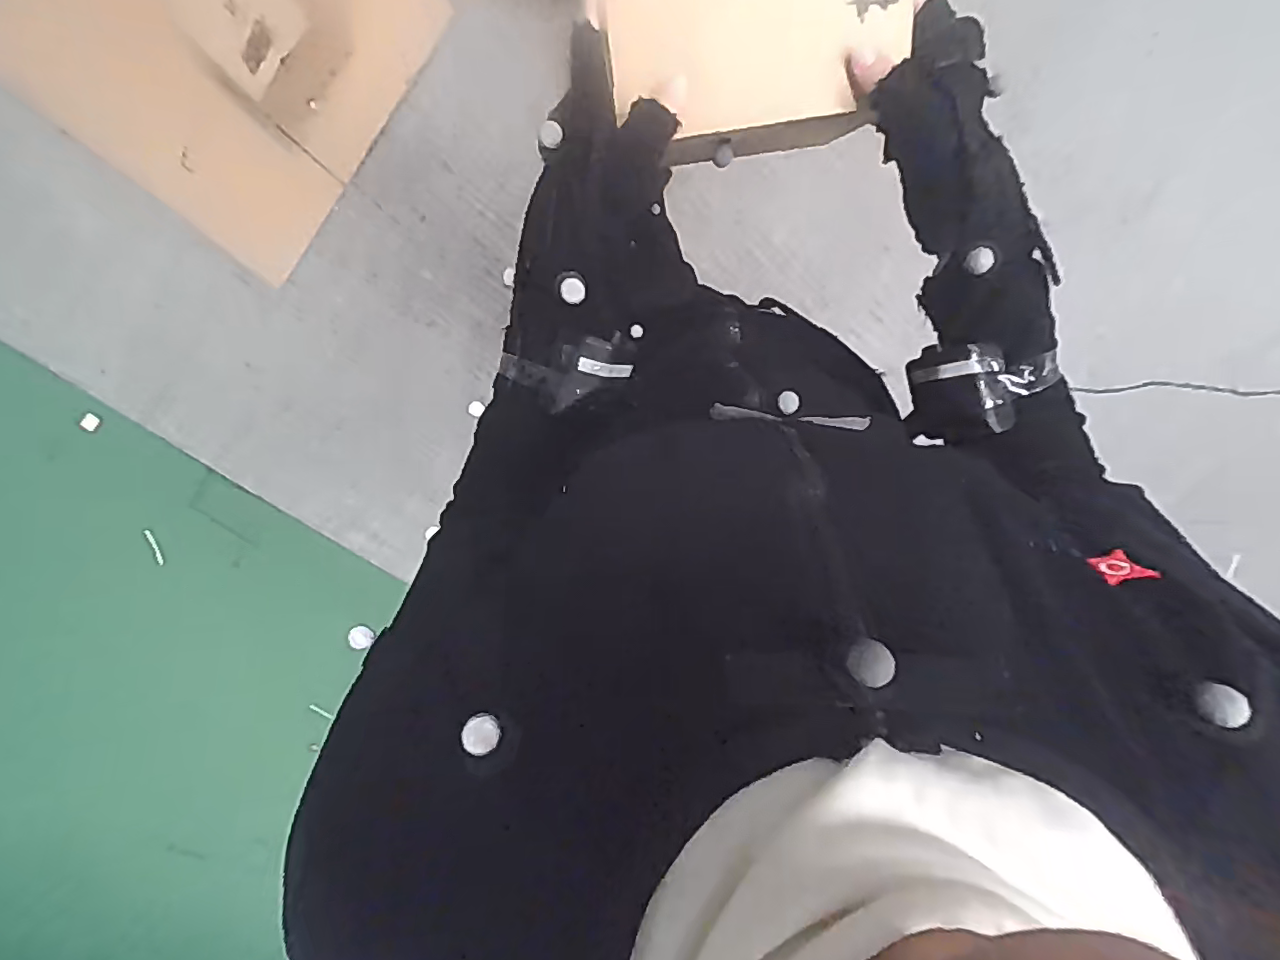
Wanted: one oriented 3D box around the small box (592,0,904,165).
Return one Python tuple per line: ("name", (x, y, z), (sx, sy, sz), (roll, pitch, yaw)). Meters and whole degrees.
("small box", (0.060, -0.334, 0.370), (0.179, 0.176, 0.168), (-8, 112, 7))
